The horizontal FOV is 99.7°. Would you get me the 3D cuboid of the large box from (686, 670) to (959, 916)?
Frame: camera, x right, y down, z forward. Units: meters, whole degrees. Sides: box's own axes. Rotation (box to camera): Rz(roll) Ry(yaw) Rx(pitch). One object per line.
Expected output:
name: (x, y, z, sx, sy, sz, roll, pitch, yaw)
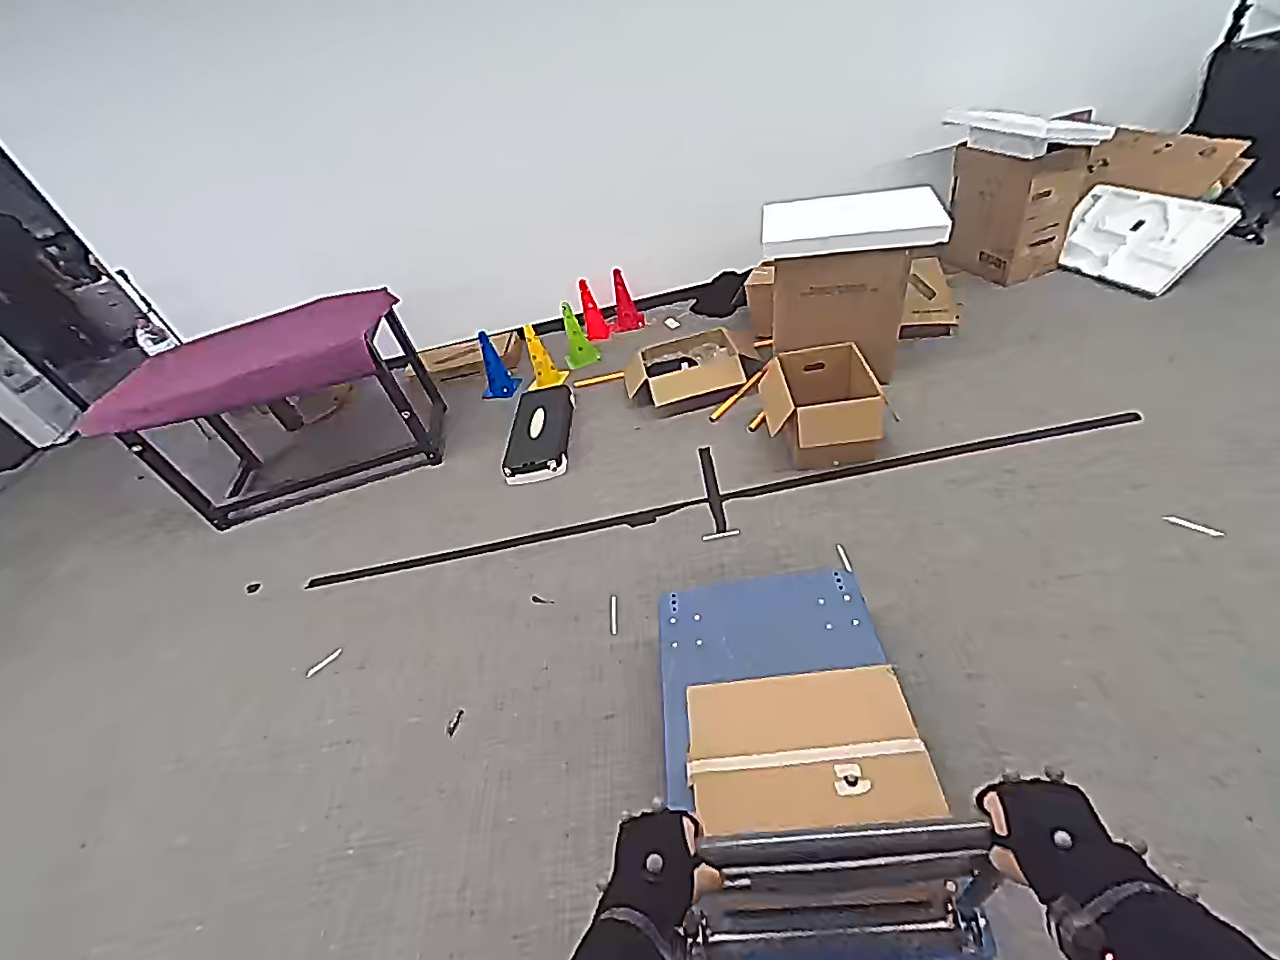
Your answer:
large box: (0.316, 0.608, 1.047, 0.408, 0.320, 0.320, -9, 41, 7)
